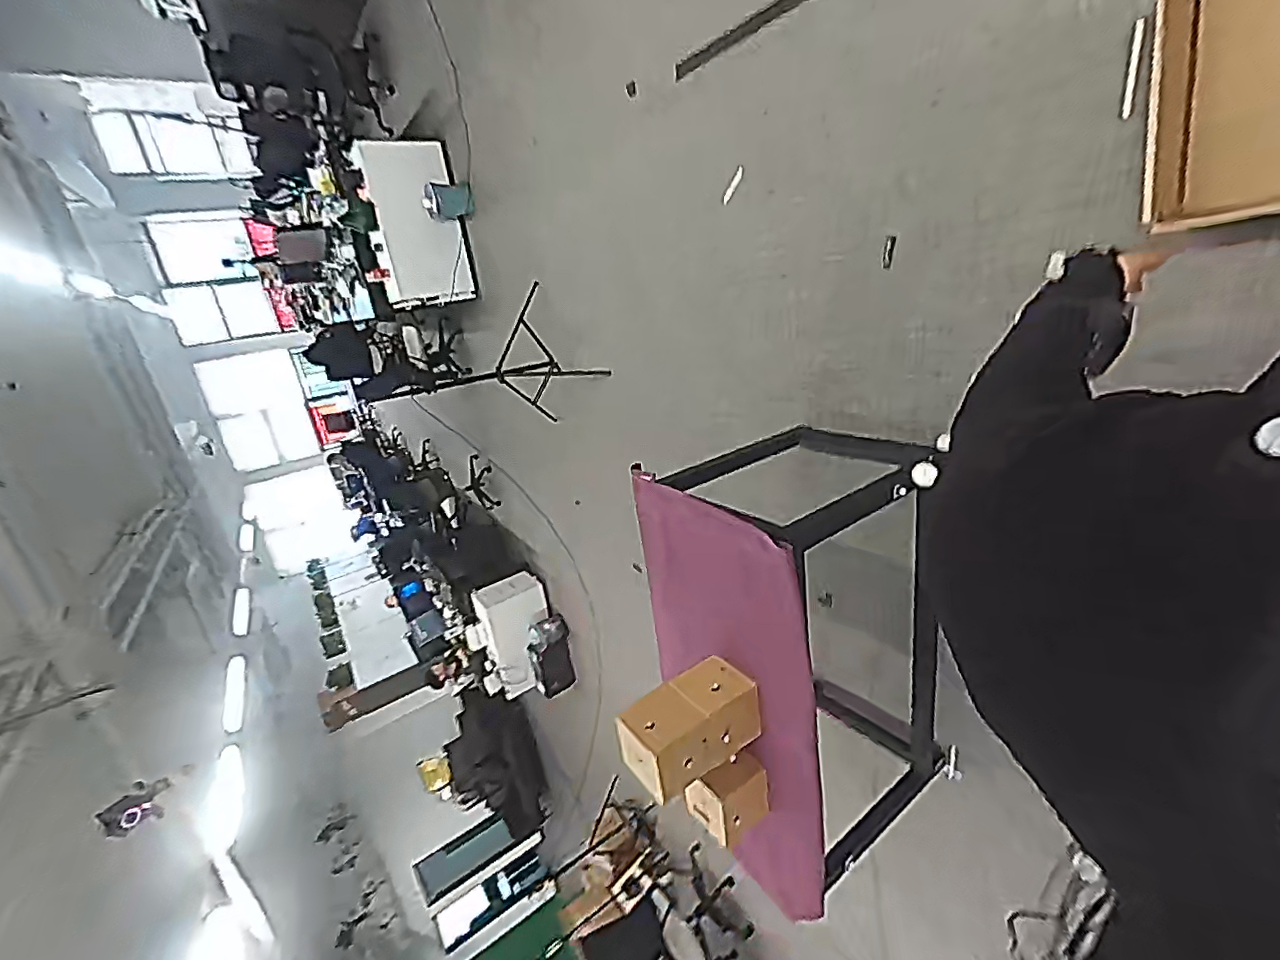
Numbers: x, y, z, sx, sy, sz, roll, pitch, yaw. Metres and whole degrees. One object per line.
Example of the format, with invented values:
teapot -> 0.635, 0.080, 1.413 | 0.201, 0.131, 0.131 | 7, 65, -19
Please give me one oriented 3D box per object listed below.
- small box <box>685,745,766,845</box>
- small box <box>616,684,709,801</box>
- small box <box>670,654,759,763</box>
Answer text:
small box -> 0.243, 0.868, 1.534 | 0.168, 0.176, 0.179 | 21, 124, 53
small box -> 0.063, 0.653, 1.372 | 0.179, 0.176, 0.168 | 22, 126, 53
small box -> 0.202, 0.600, 1.445 | 0.168, 0.176, 0.179 | 21, 126, 53
